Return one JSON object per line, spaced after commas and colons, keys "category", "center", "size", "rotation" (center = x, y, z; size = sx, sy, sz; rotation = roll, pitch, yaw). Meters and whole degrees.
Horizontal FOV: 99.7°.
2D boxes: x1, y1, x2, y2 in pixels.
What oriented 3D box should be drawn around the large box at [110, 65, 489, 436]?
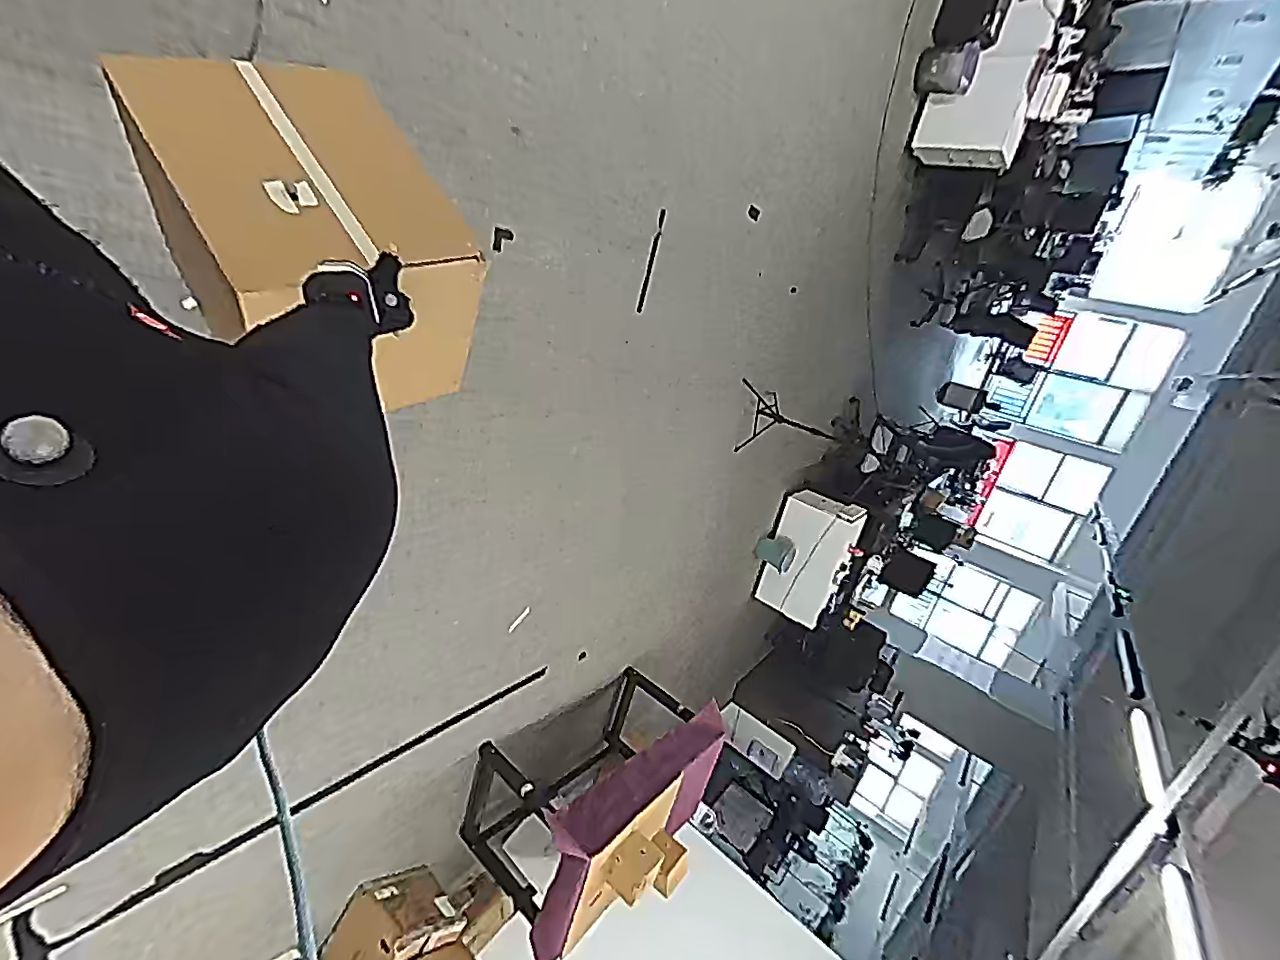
{"category": "large box", "center": [-0.503, -0.347, 0.847], "size": [0.320, 0.408, 0.320], "rotation": [-29, 169, -36]}
